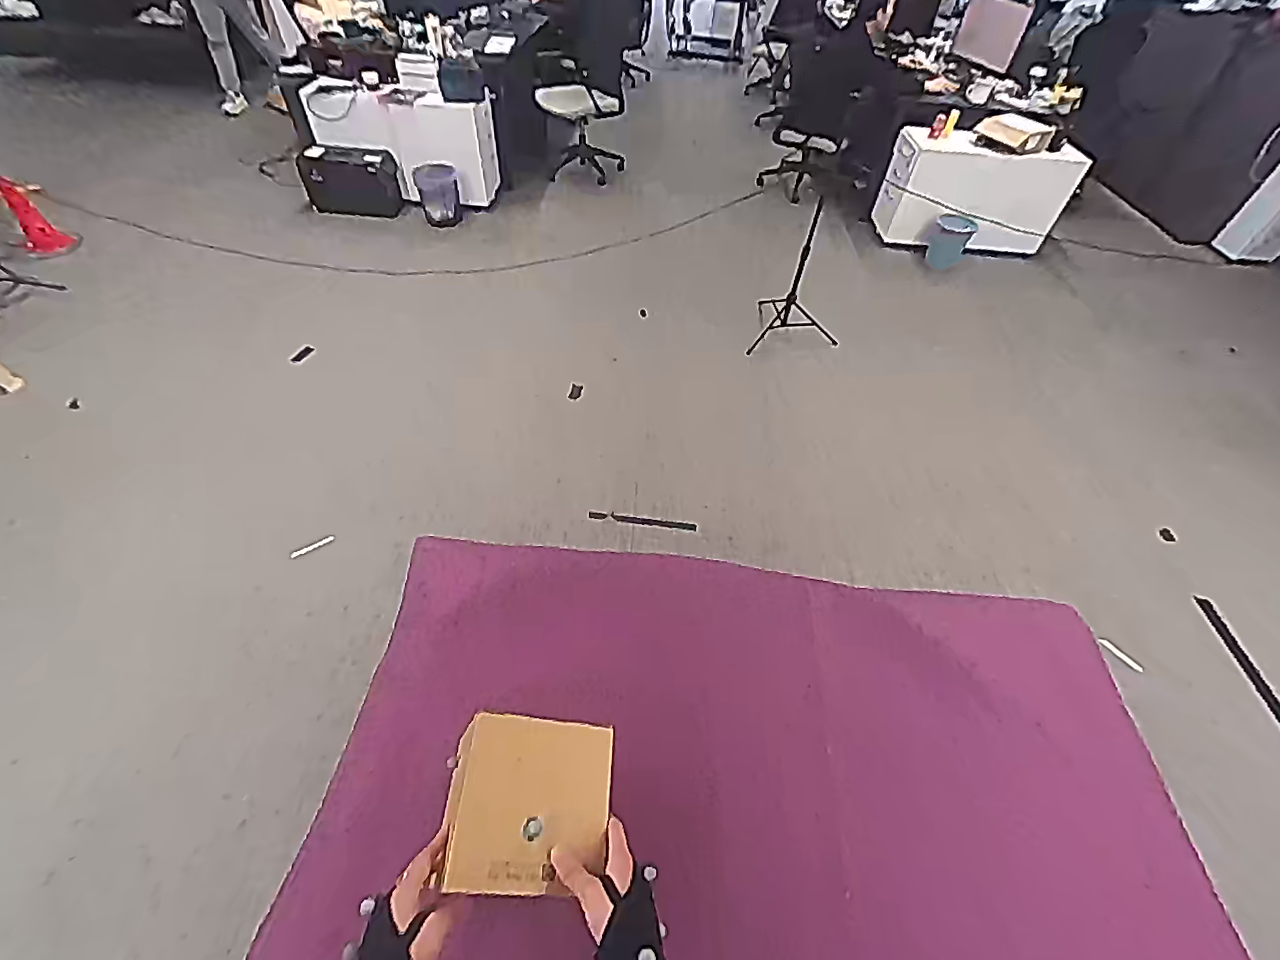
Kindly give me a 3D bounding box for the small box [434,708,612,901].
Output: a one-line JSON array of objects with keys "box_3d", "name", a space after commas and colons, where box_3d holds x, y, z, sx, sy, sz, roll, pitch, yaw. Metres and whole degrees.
[{"box_3d": [-0.141, 0.391, 0.649, 0.168, 0.179, 0.176, 14, 52, -15], "name": "small box"}]
